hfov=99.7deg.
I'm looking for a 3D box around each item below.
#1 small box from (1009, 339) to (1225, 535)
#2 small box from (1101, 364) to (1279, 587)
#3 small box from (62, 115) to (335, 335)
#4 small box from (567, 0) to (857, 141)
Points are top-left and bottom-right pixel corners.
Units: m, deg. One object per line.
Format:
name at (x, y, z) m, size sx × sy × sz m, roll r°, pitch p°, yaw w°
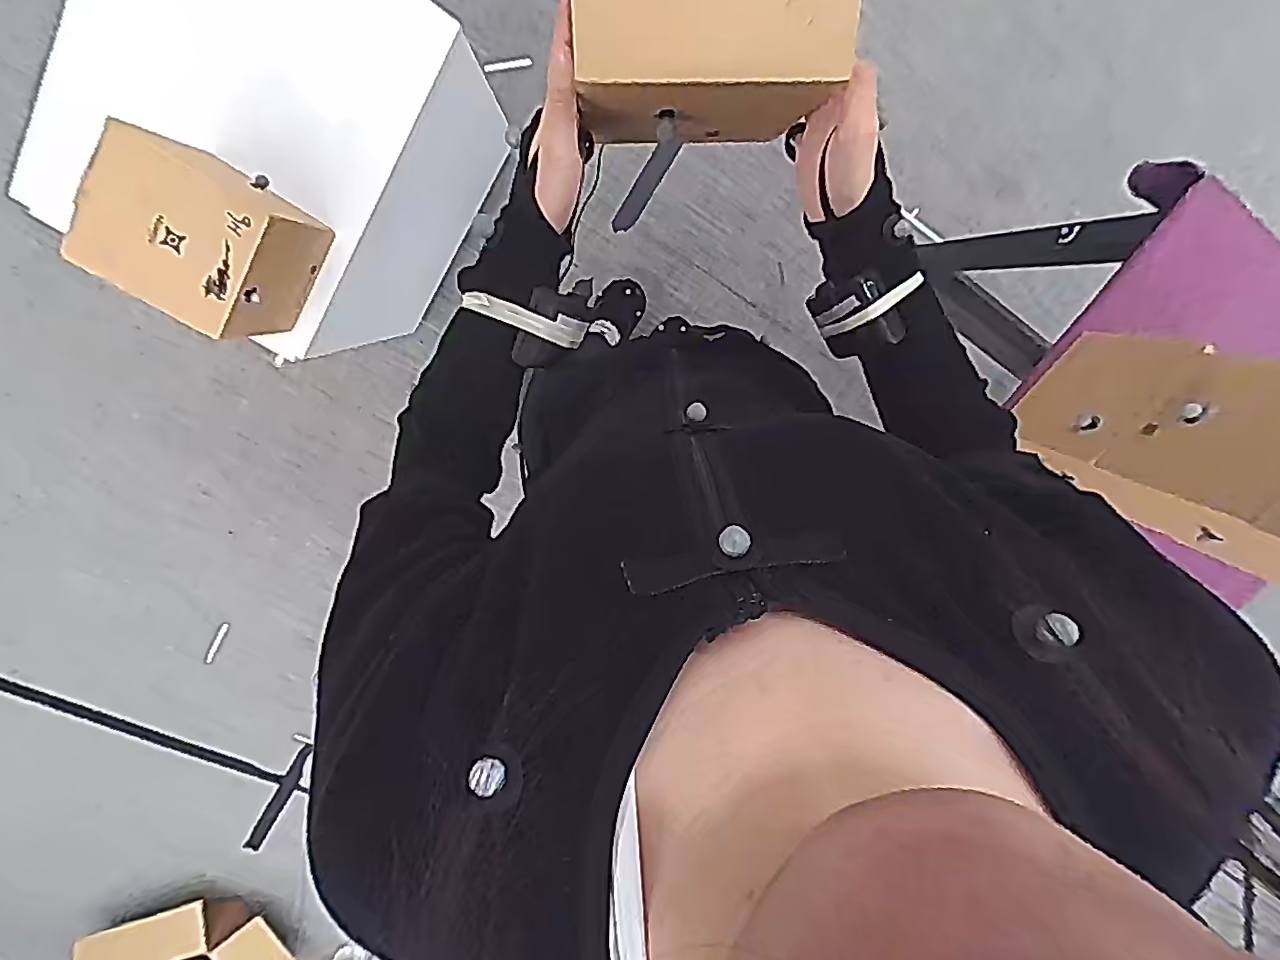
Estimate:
small box at (0.636, -0.065, 0.714) m, size 0.168 × 0.176 × 0.179 m, roll 34°, pitch 103°, yaw -15°
small box at (0.655, -0.004, 0.562) m, size 0.179 × 0.176 × 0.168 m, roll 34°, pitch 103°, yaw -14°
small box at (-0.530, -0.299, 0.676) m, size 0.179 × 0.176 × 0.168 m, roll 31°, pitch 103°, yaw -13°
small box at (0.039, -0.340, 0.359) m, size 0.168 × 0.176 × 0.179 m, roll -2°, pitch 111°, yaw -2°
